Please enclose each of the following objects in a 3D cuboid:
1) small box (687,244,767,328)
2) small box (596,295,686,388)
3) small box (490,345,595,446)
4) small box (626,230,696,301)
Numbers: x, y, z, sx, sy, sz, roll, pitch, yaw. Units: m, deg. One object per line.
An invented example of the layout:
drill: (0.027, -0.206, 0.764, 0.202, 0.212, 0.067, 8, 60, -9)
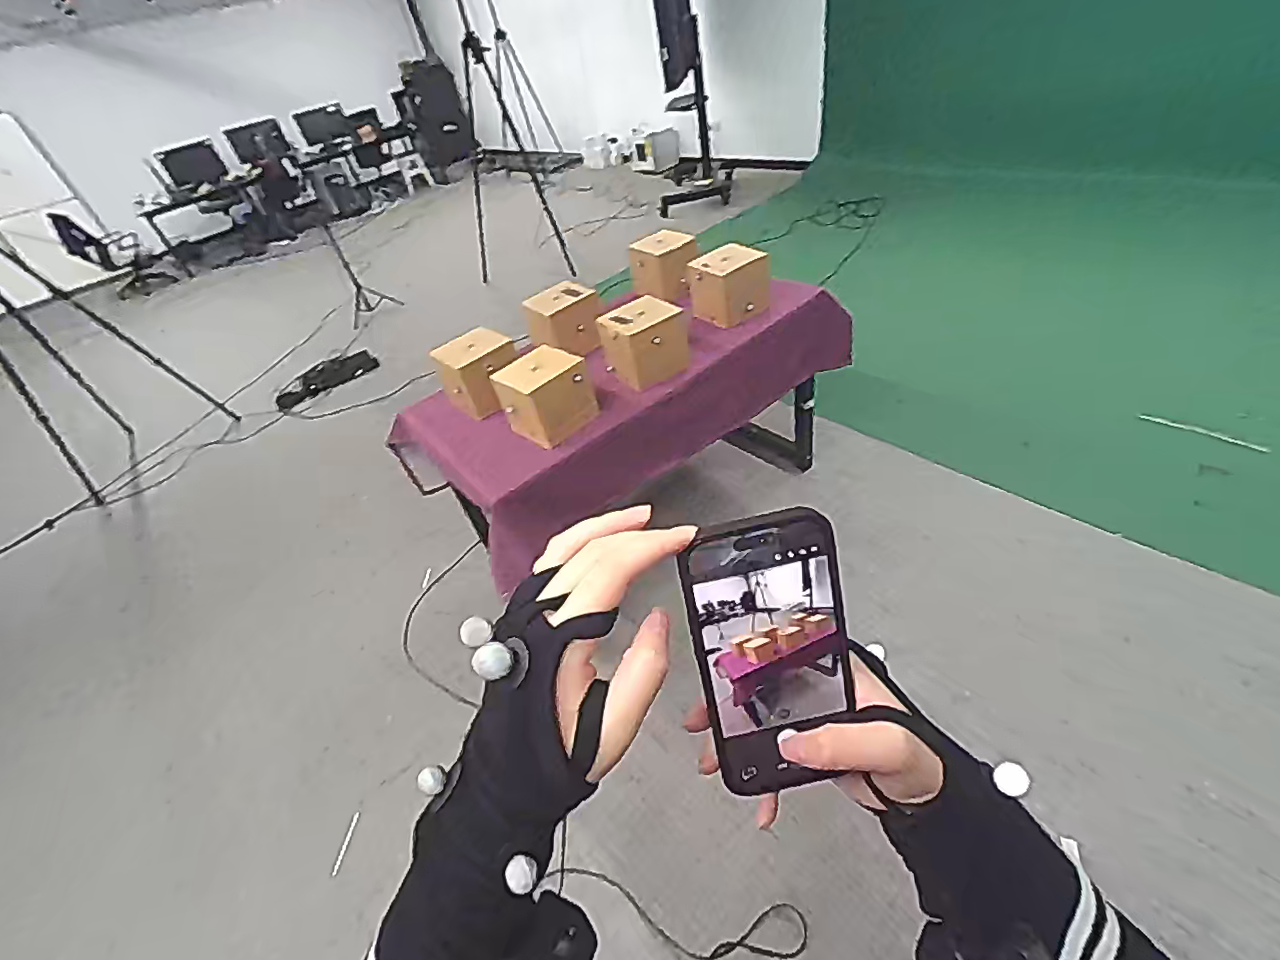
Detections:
small box: (0.263, -0.587, 1.631, 0.179, 0.176, 0.168, -30, 43, -18)
small box: (0.008, -0.374, 1.467, 0.179, 0.176, 0.168, -30, 44, -19)
small box: (-0.236, -0.211, 1.356, 0.168, 0.176, 0.179, 27, 54, 37)
small box: (0.077, -0.729, 1.840, 0.168, 0.176, 0.179, -33, 45, -20)
